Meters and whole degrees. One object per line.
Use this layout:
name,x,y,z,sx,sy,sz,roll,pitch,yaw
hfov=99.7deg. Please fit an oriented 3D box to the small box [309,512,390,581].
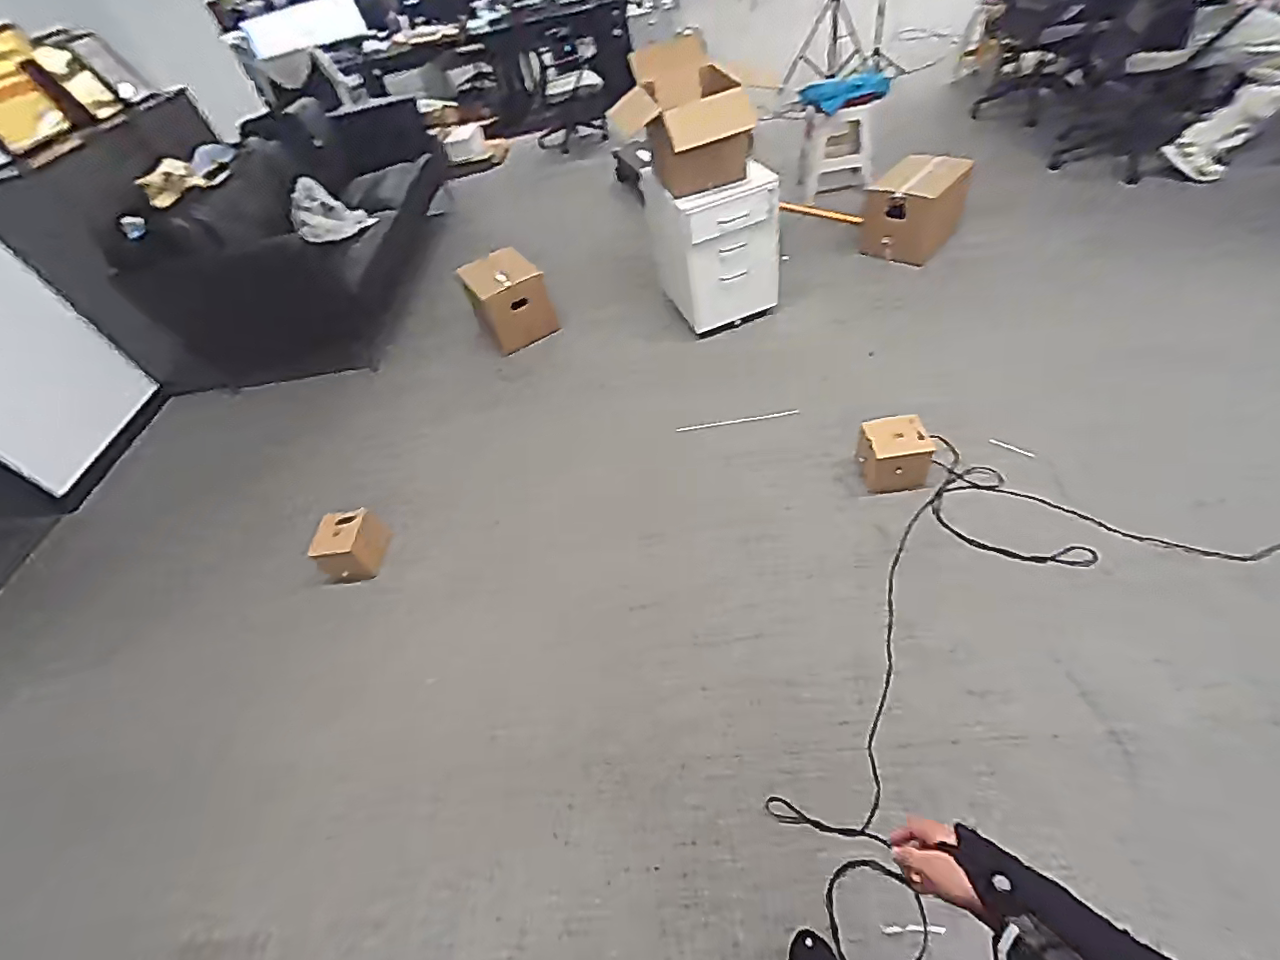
small box,-1.028,0.240,1.934,0.168,0.176,0.179,-7,49,8

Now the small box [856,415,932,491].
small box,0.811,-0.083,1.751,0.179,0.176,0.168,-10,49,6
